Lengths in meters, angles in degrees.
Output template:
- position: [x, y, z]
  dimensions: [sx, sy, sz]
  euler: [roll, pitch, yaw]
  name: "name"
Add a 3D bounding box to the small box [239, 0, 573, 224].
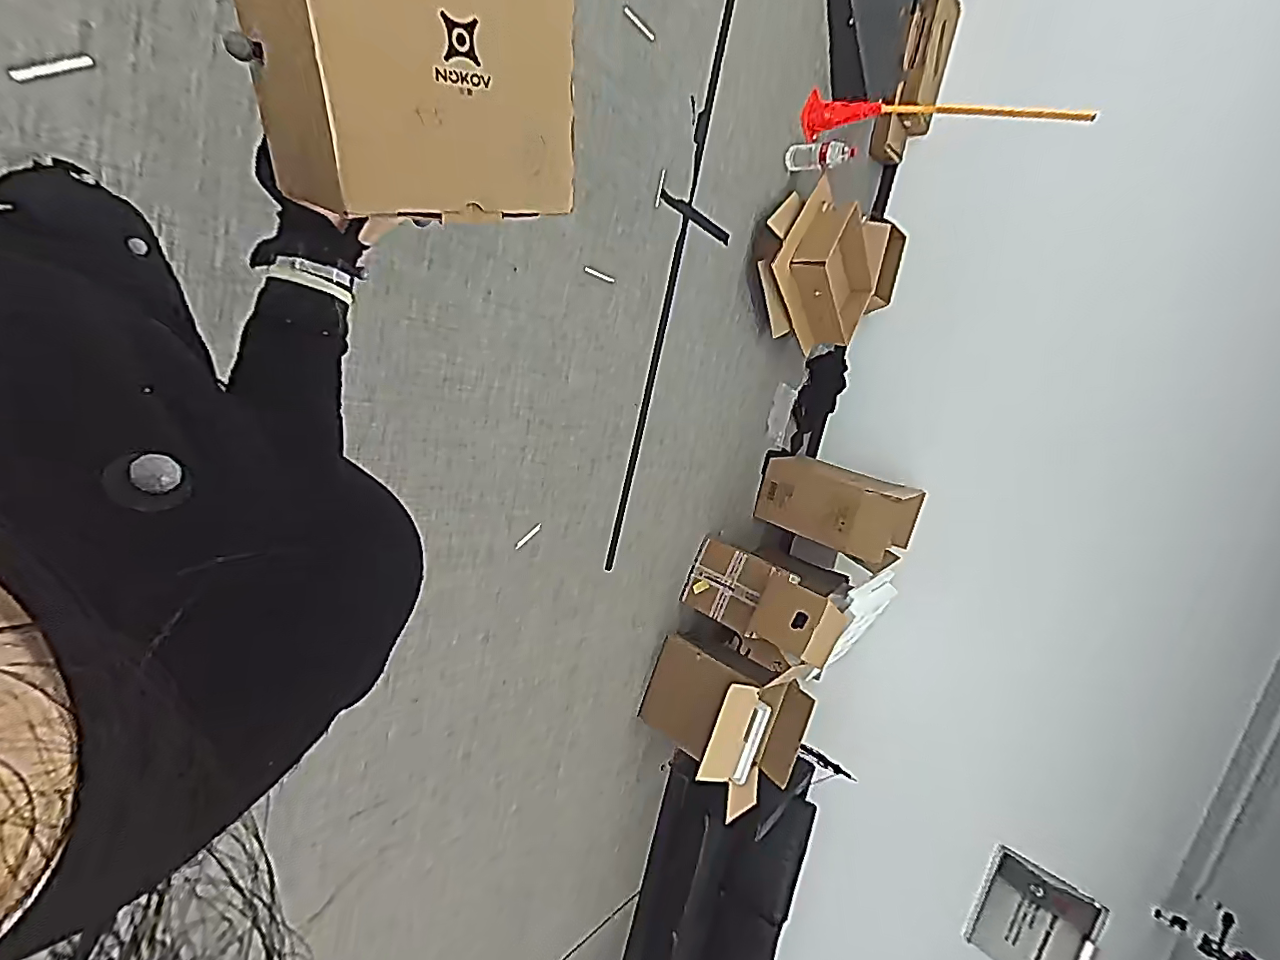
- position: [-0.164, -0.291, 0.385]
  dimensions: [0.168, 0.176, 0.179]
  euler: [-22, 131, -37]
  name: "small box"
